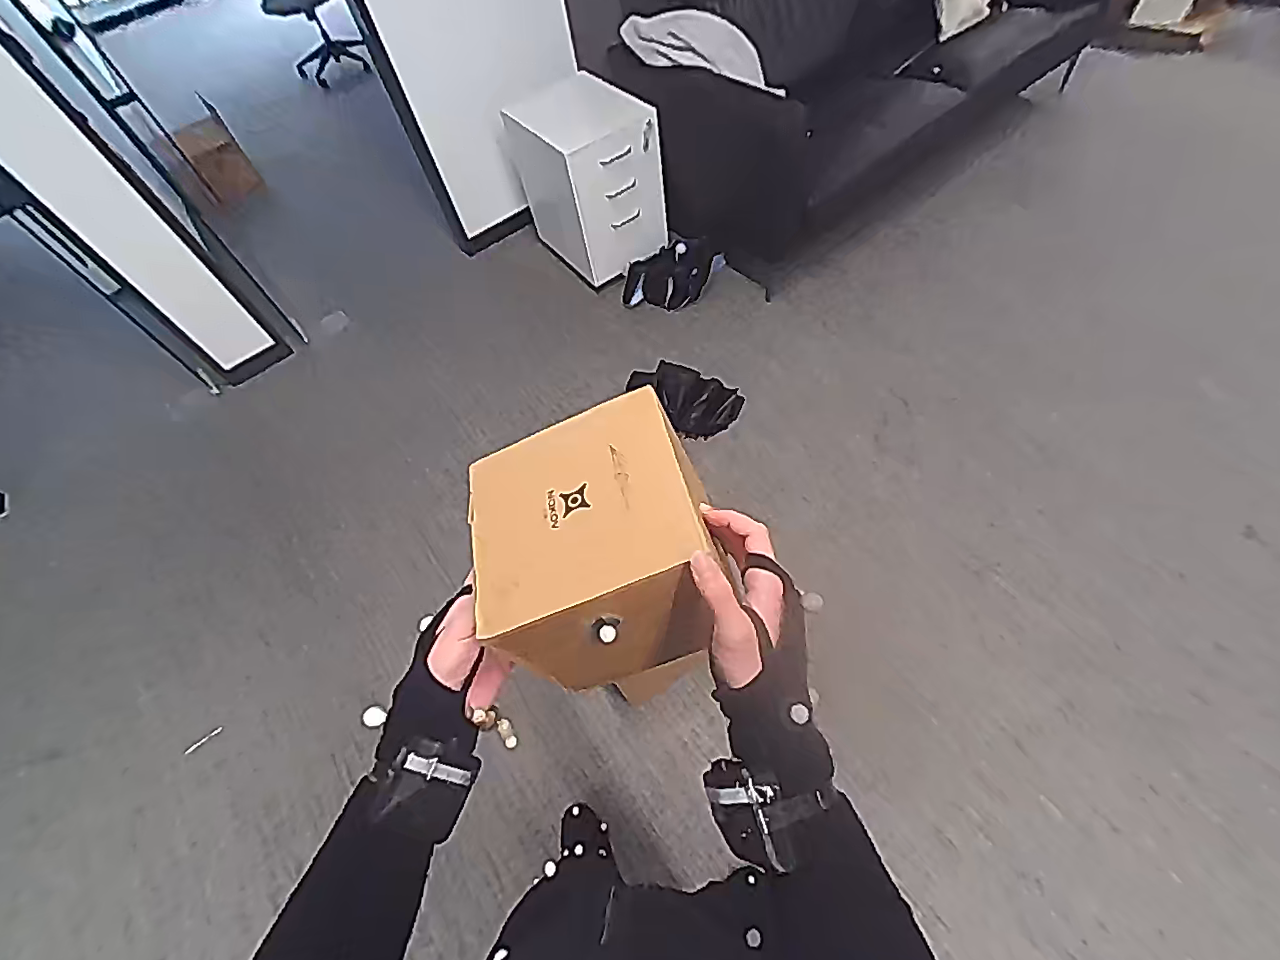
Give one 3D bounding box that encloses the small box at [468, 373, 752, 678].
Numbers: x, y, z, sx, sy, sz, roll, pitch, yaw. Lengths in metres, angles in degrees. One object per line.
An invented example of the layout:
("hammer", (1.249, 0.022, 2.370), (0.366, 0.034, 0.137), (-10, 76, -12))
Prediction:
("small box", (-0.022, 0.048, 0.460), (0.179, 0.176, 0.168), (-22, 53, 6))
